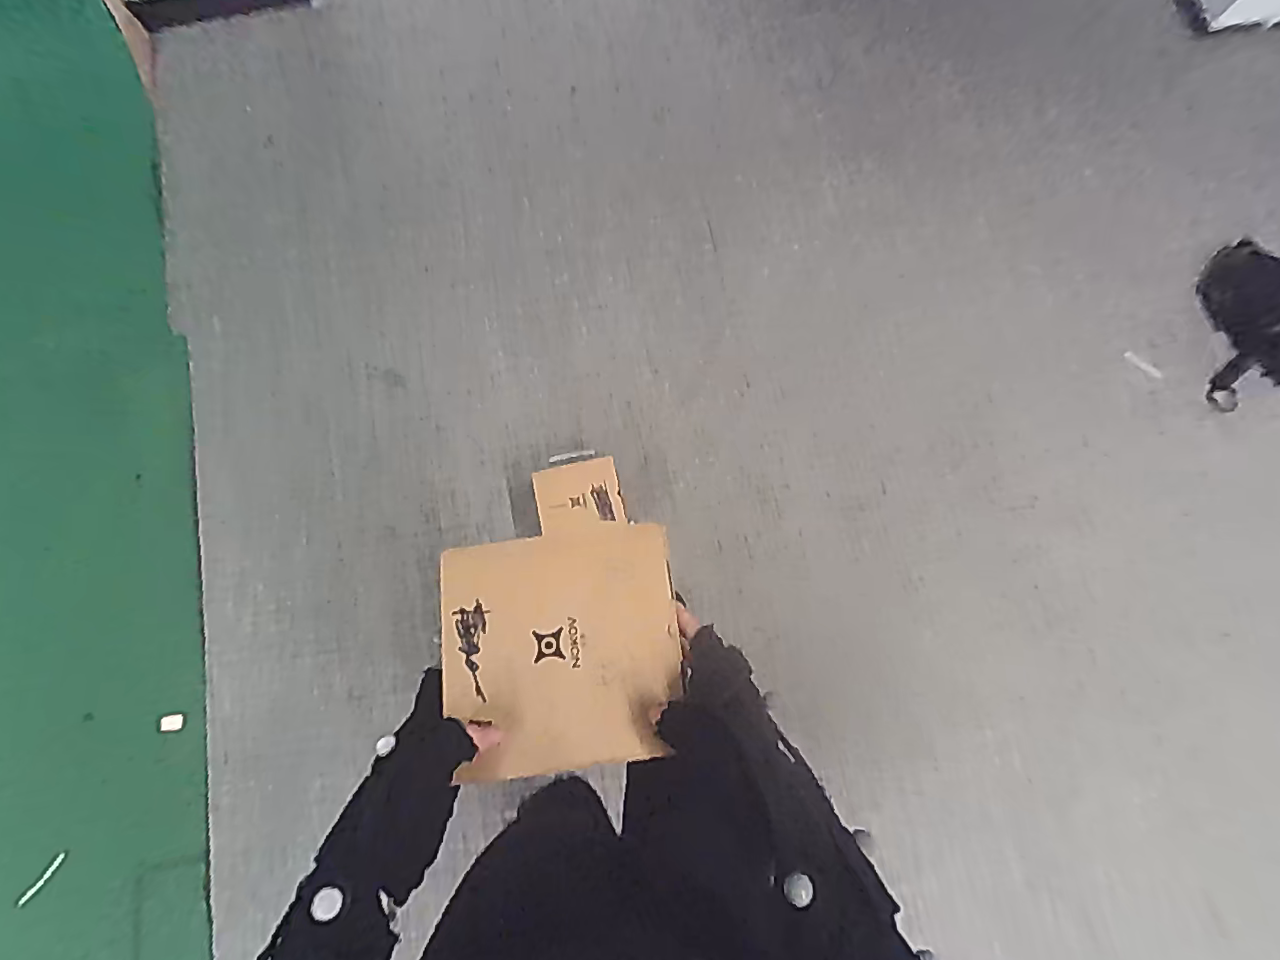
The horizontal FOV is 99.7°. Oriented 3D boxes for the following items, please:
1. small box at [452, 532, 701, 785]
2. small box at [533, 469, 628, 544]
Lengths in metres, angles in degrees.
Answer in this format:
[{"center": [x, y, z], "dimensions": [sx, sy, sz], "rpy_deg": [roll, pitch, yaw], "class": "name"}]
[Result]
[{"center": [-0.052, 0.150, 0.476], "dimensions": [0.179, 0.176, 0.168], "rpy_deg": [-7, 71, -2], "class": "small box"}, {"center": [-0.122, 0.084, 1.183], "dimensions": [0.179, 0.176, 0.168], "rpy_deg": [-12, 79, -1], "class": "small box"}]
